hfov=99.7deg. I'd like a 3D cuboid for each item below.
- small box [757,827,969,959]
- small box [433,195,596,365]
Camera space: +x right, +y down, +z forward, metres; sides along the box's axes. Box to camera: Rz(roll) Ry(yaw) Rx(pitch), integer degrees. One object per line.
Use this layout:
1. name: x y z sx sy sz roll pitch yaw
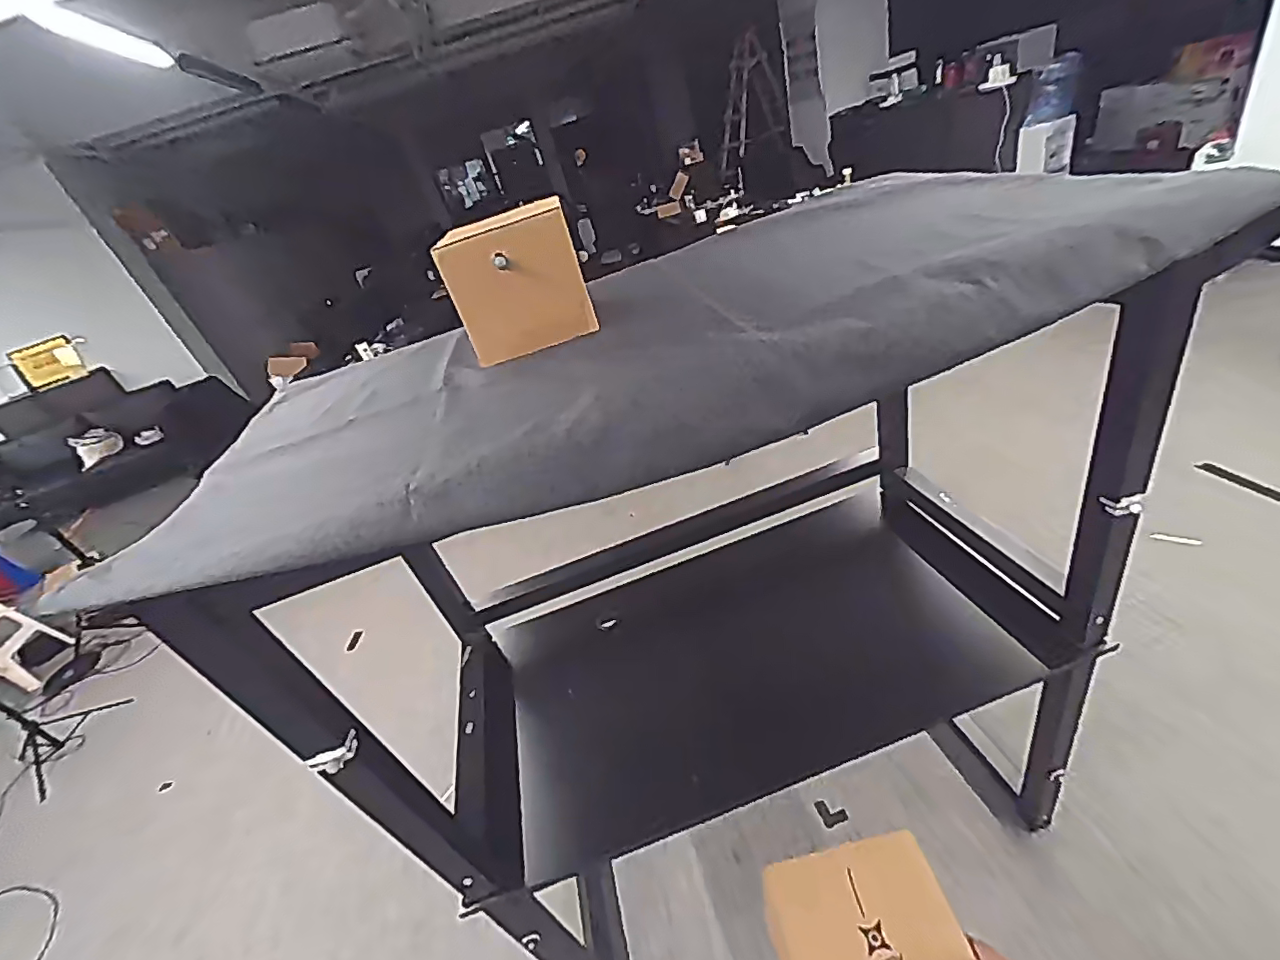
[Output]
1. small box: 0.229 0.500 0.557 0.168 0.176 0.179 -13 39 -3
2. small box: -0.169 -0.291 0.785 0.179 0.176 0.168 -18 33 1
